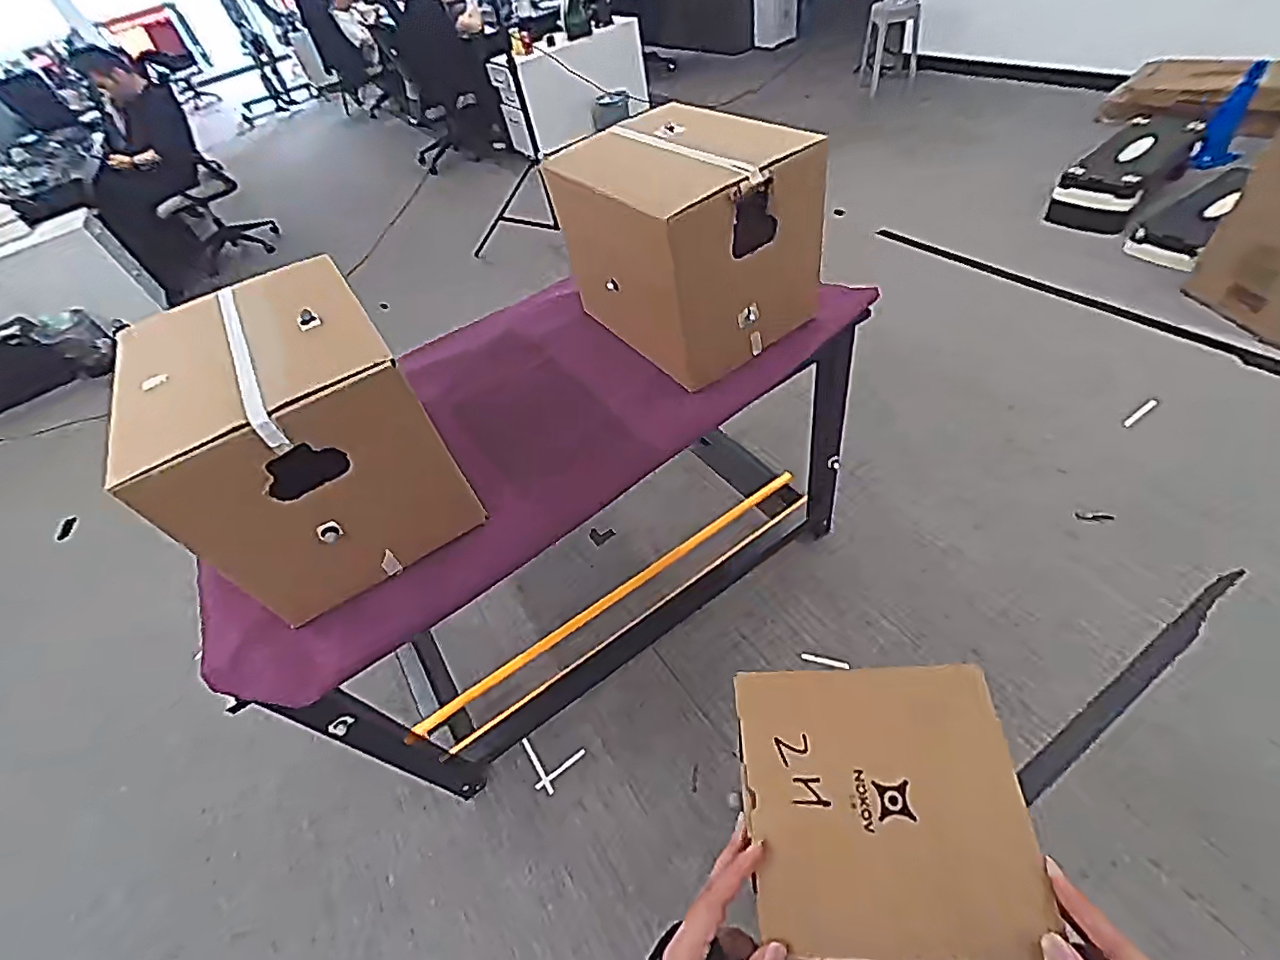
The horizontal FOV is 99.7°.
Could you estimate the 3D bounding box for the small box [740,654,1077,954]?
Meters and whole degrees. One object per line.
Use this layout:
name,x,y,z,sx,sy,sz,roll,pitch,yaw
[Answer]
small box,0.172,0.238,0.418,0.179,0.176,0.168,-6,58,9

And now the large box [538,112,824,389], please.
large box,0.077,-0.434,1.001,0.320,0.320,0.408,-32,49,-16
